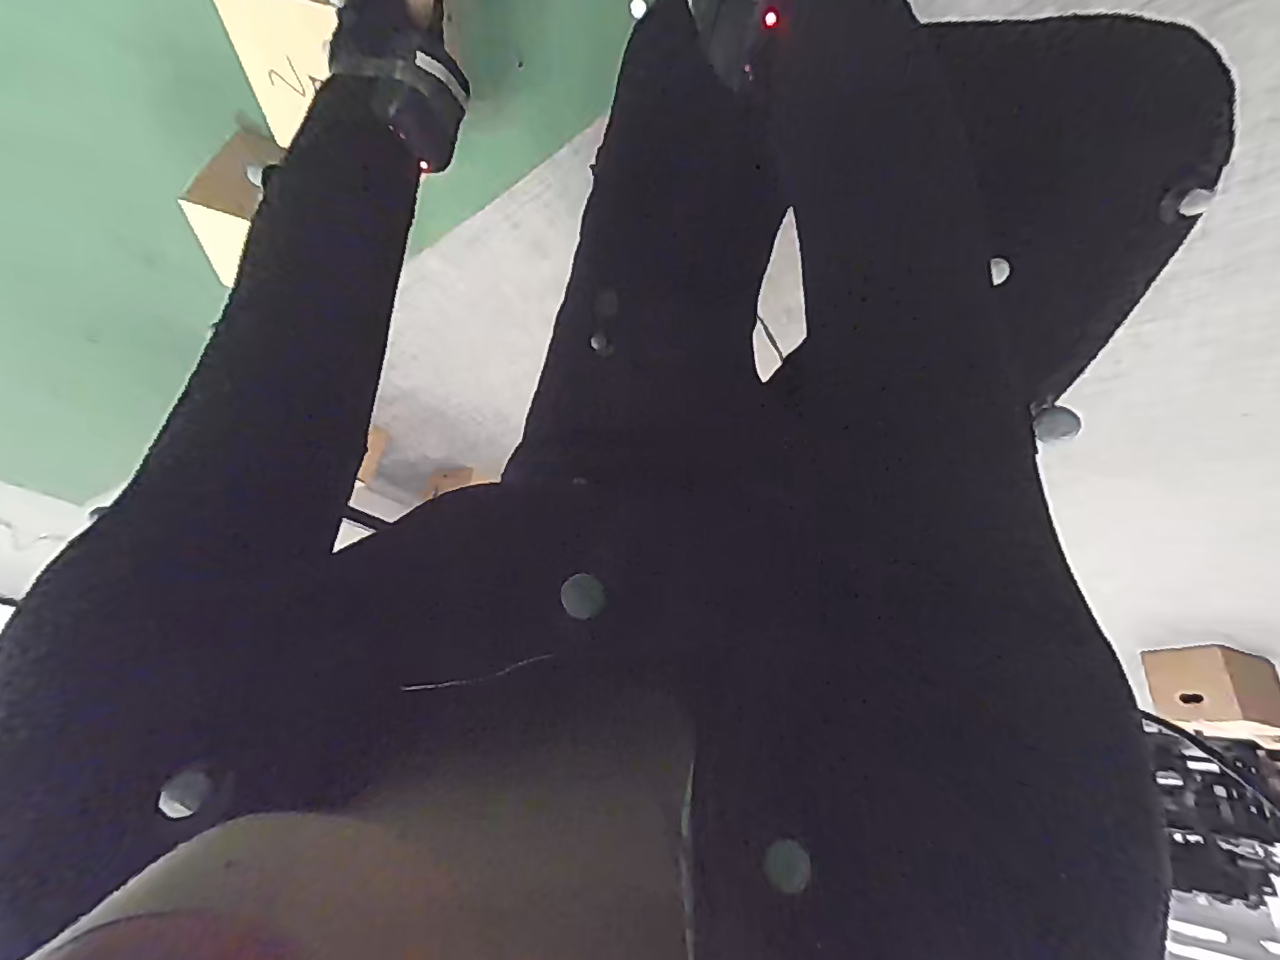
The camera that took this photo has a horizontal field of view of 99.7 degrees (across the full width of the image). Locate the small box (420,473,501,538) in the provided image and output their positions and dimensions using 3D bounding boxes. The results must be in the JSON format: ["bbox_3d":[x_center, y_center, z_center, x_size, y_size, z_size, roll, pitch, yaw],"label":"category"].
[{"bbox_3d":[-0.588,0.083,1.792,0.168,0.176,0.179,-1,153,19],"label":"small box"}]

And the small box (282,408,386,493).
[{"bbox_3d":[-0.861,-0.081,1.539,0.168,0.176,0.179,-10,147,31],"label":"small box"}]

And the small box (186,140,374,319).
[{"bbox_3d":[-0.544,-0.390,0.847,0.179,0.176,0.168,13,153,-13],"label":"small box"}]
